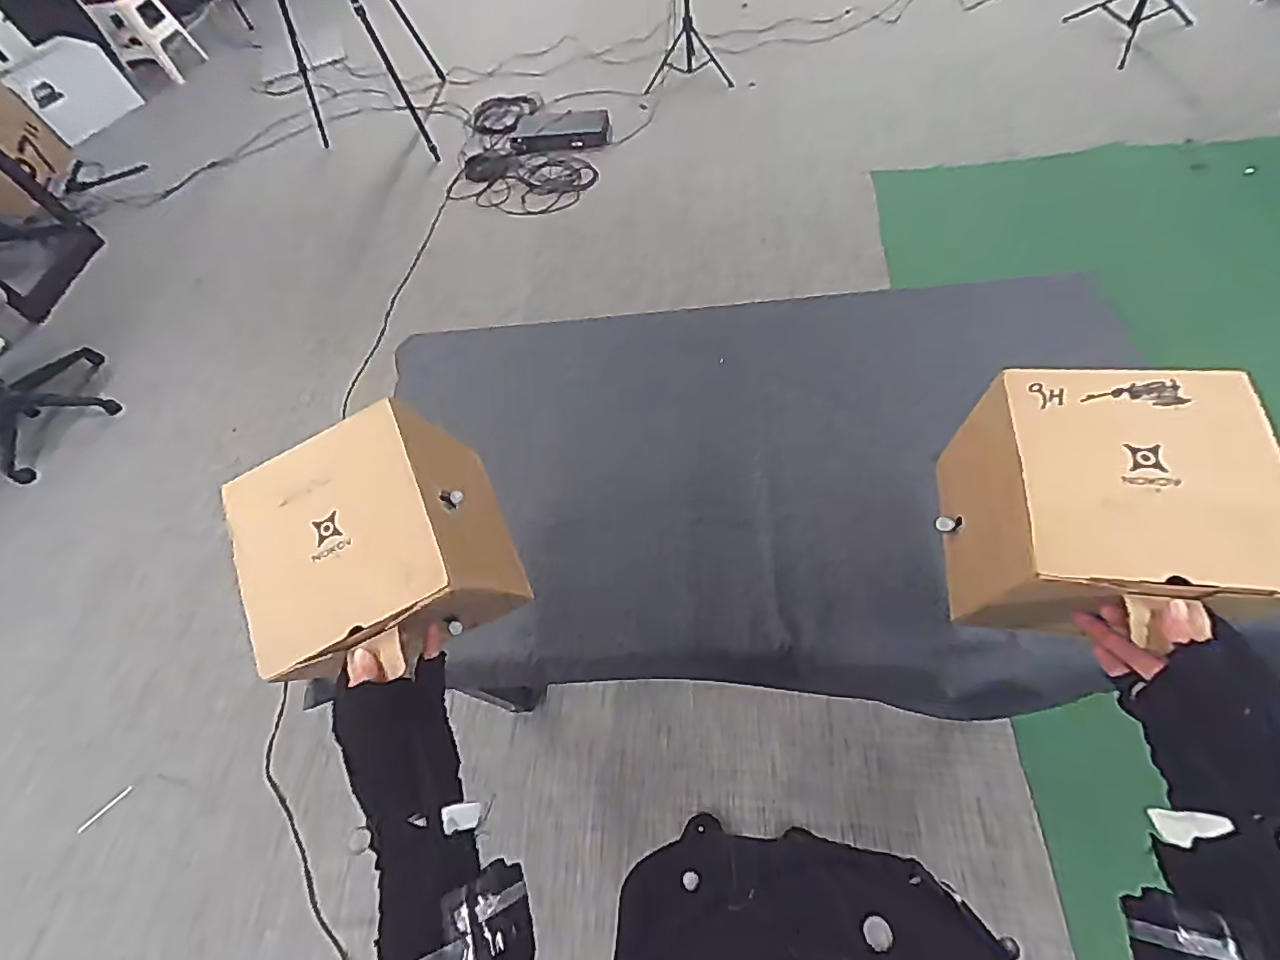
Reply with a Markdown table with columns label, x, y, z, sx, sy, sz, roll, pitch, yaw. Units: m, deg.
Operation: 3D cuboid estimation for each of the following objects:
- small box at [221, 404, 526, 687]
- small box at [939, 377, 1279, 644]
| label | x | y | z | sx | sy | sz | roll | pitch | yaw |
| --- | --- | --- | --- | --- | --- | --- | --- | --- | --- |
| small box | -0.228 | 0.066 | 0.497 | 0.168 | 0.176 | 0.179 | -27 | 70 | 2 |
| small box | 0.372 | 0.034 | 0.457 | 0.168 | 0.176 | 0.179 | 4 | 66 | 11 |
